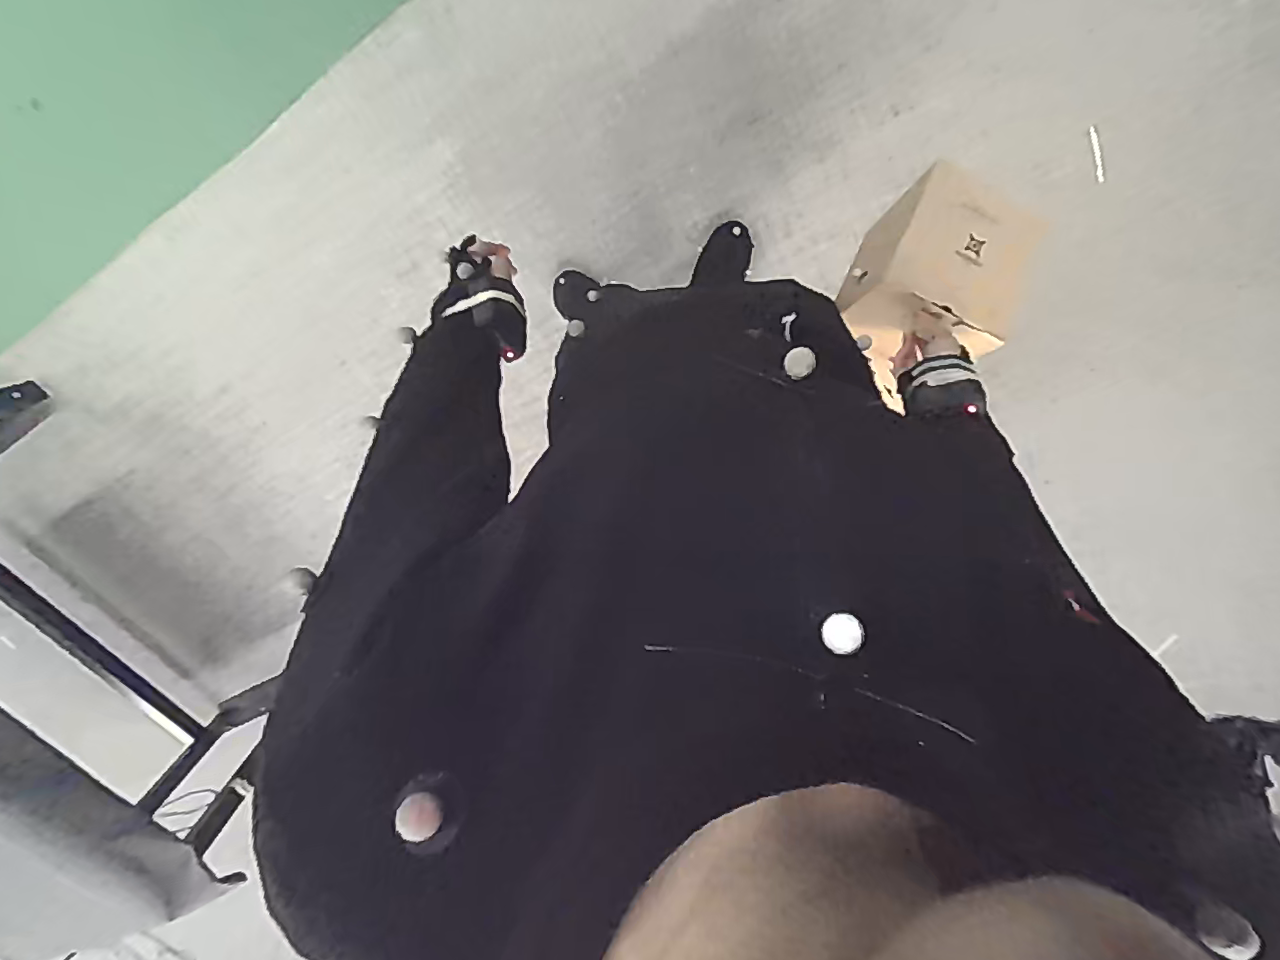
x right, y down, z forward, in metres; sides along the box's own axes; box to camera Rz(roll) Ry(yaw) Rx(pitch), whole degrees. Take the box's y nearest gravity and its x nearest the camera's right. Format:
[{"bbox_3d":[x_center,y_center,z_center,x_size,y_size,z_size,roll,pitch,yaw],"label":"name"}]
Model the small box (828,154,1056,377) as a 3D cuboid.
[{"bbox_3d":[0.370,-0.257,0.695,0.168,0.176,0.179,27,81,-5],"label":"small box"}]
